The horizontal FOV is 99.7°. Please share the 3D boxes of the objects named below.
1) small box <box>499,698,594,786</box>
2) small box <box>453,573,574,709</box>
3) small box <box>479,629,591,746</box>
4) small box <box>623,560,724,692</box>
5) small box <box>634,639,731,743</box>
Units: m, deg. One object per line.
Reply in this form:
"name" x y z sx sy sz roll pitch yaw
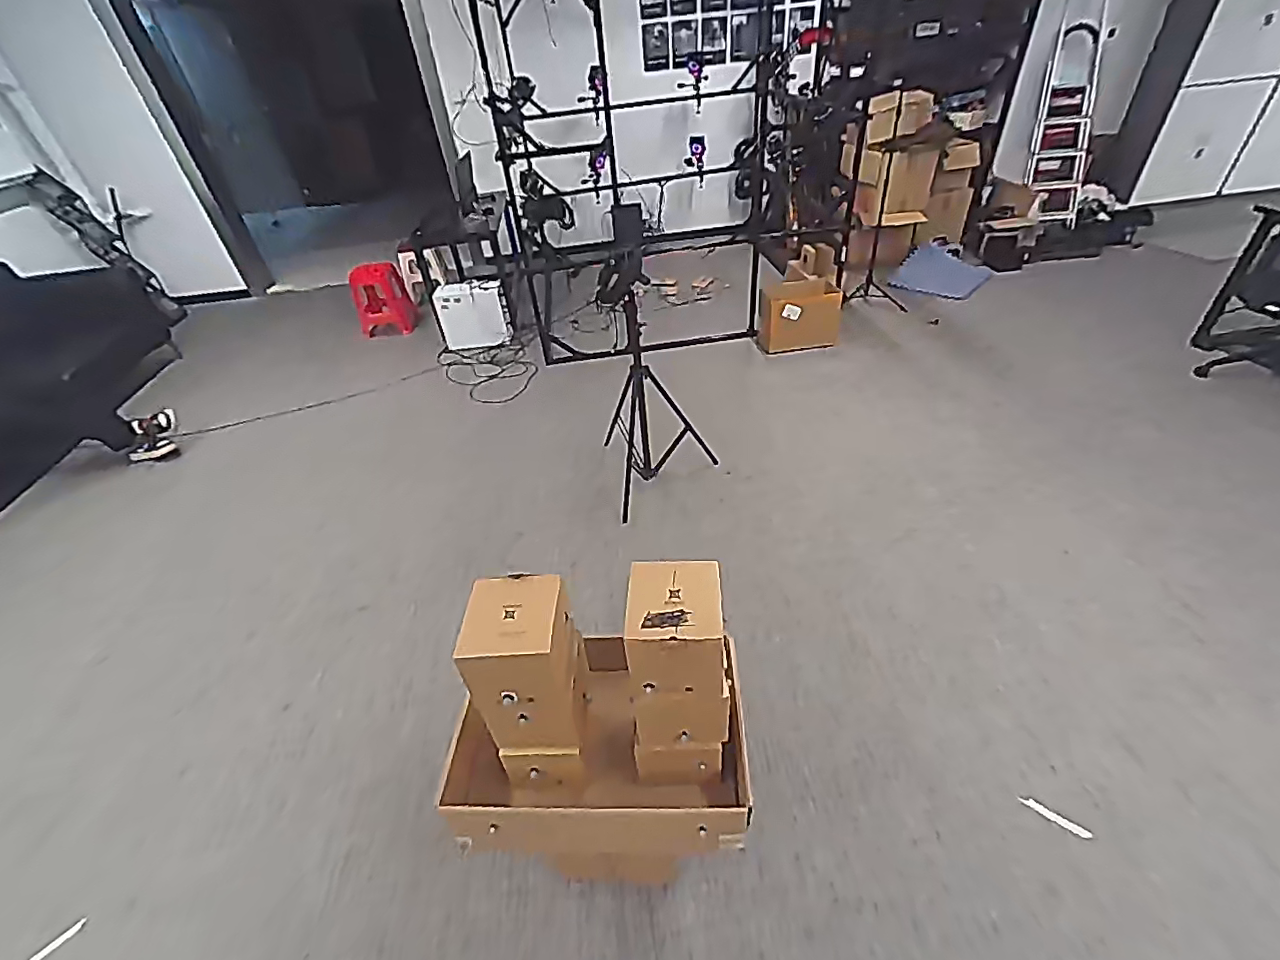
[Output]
"small box" -0.195 0.553 1.190 0.168 0.176 0.179 -2 38 2
"small box" -0.219 0.293 0.992 0.168 0.176 0.179 -4 38 3
"small box" -0.202 0.420 1.094 0.179 0.176 0.168 -1 39 4
"small box" 0.067 0.266 0.982 0.168 0.176 0.179 -1 38 6
"small box" 0.081 0.404 1.073 0.179 0.176 0.168 -3 38 2
